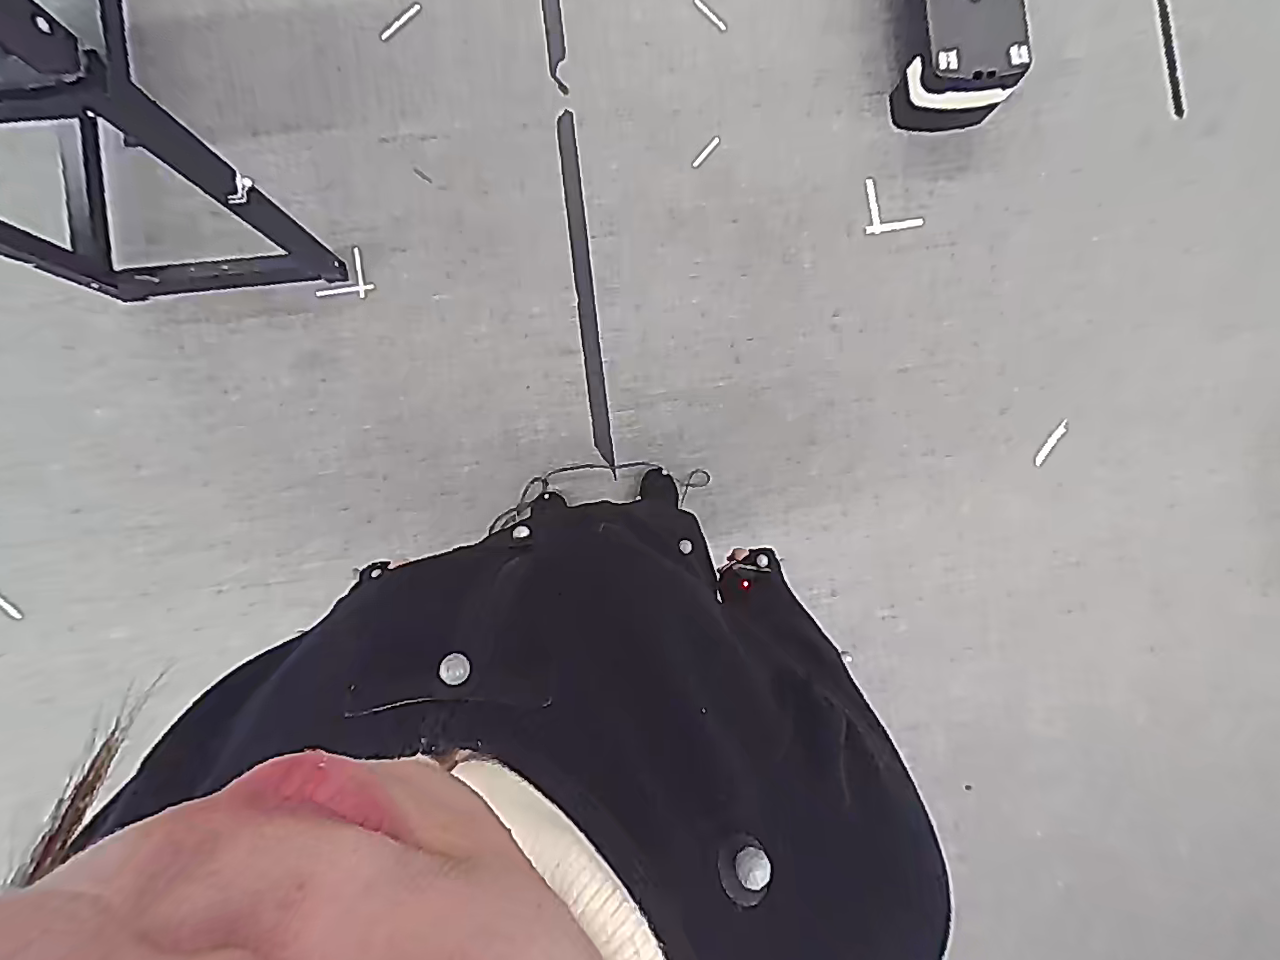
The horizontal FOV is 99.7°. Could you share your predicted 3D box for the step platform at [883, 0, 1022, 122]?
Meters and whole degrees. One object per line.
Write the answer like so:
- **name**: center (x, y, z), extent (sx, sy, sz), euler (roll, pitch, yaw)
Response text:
- **step platform**: center (0.841, -1.382, 1.479), extent (0.286, 0.204, 0.684), euler (-2, 89, -3)
